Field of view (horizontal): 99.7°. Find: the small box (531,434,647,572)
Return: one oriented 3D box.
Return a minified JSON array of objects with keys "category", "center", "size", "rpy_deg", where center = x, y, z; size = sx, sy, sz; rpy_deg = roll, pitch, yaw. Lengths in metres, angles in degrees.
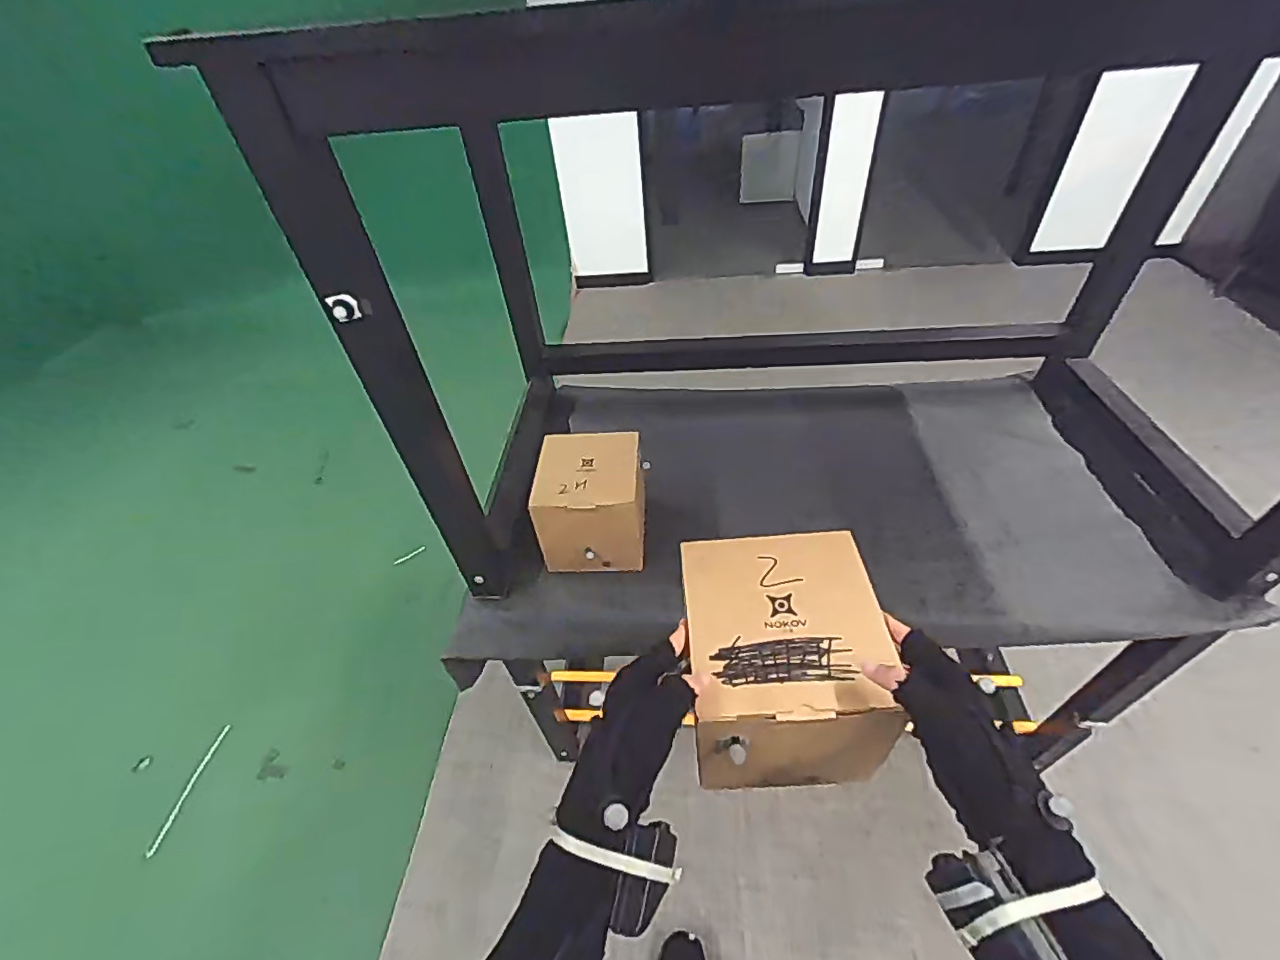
[{"category":"small box","center":[-0.078,0.039,0.931],"size":[0.168,0.176,0.179],"rpy_deg":[-2,44,5]}]
